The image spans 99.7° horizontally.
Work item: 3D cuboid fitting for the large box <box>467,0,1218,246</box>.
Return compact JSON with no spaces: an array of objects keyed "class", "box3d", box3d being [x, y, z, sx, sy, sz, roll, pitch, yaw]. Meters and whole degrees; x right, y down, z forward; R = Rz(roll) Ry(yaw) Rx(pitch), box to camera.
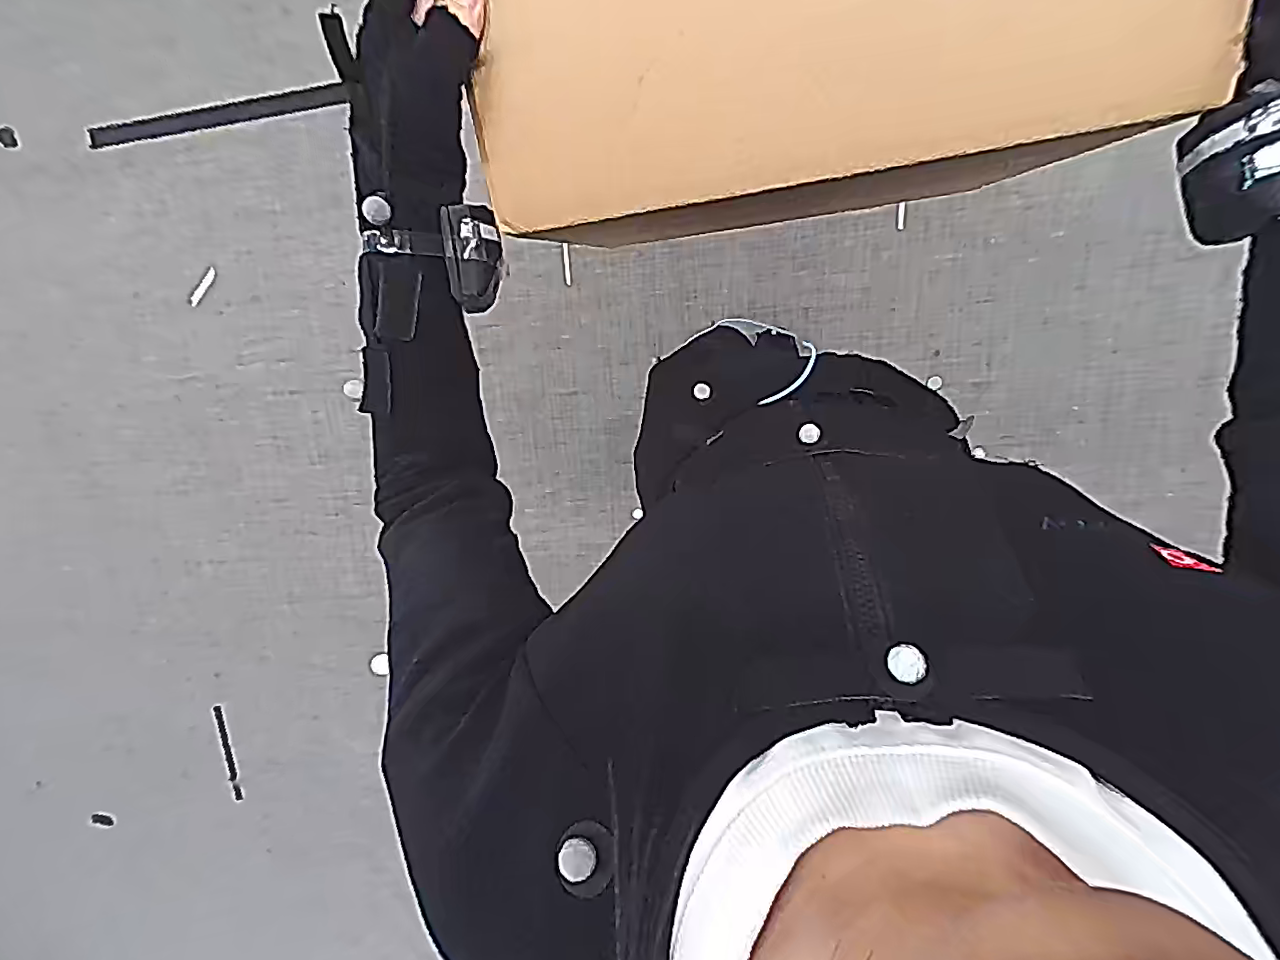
[{"class":"large box","box3d":[0.106,-0.385,0.415,0.408,0.320,0.320,-5,111,11]}]
